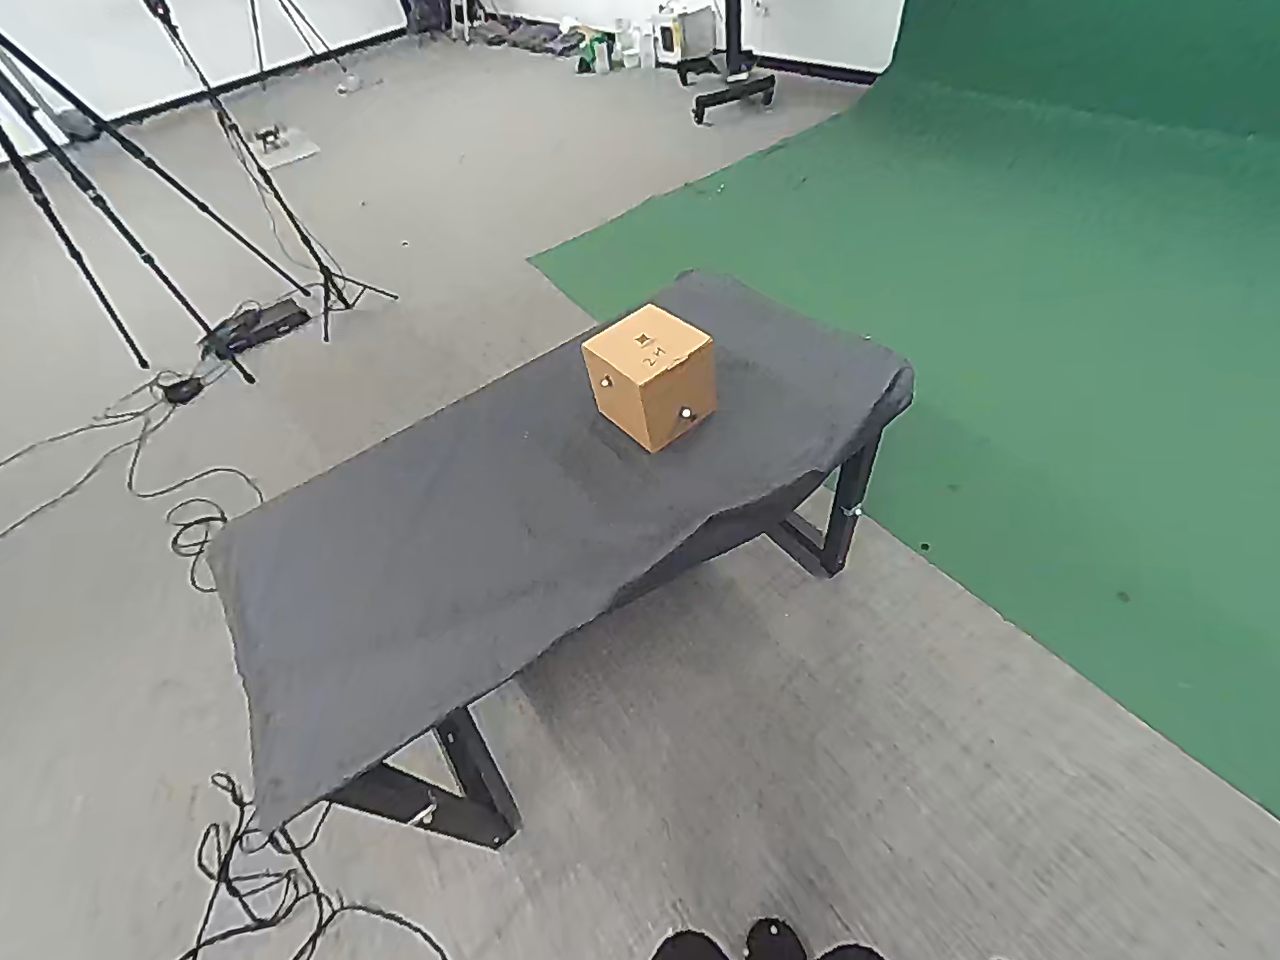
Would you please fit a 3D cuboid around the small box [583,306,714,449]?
[{"bbox_3d":[0.021,-0.190,1.013,0.168,0.176,0.179,-36,53,-18],"label":"small box"}]
